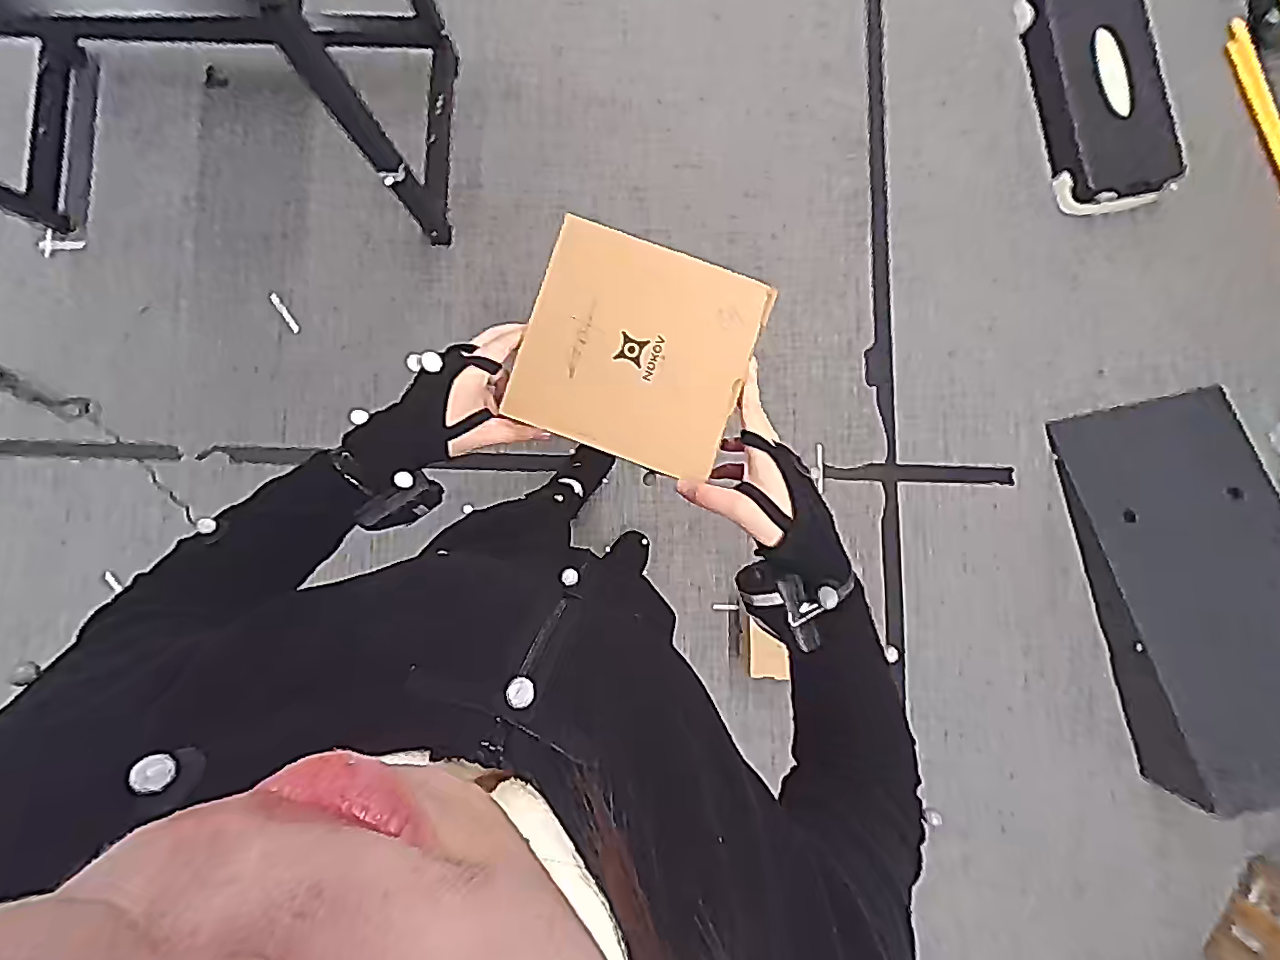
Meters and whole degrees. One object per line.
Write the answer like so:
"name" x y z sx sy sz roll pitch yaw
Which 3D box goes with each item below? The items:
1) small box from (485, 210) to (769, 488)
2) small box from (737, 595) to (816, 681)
"small box" -0.009 -0.102 0.489 0.179 0.176 0.168 20 92 1
"small box" 0.347 0.402 1.395 0.168 0.176 0.179 1 87 1
